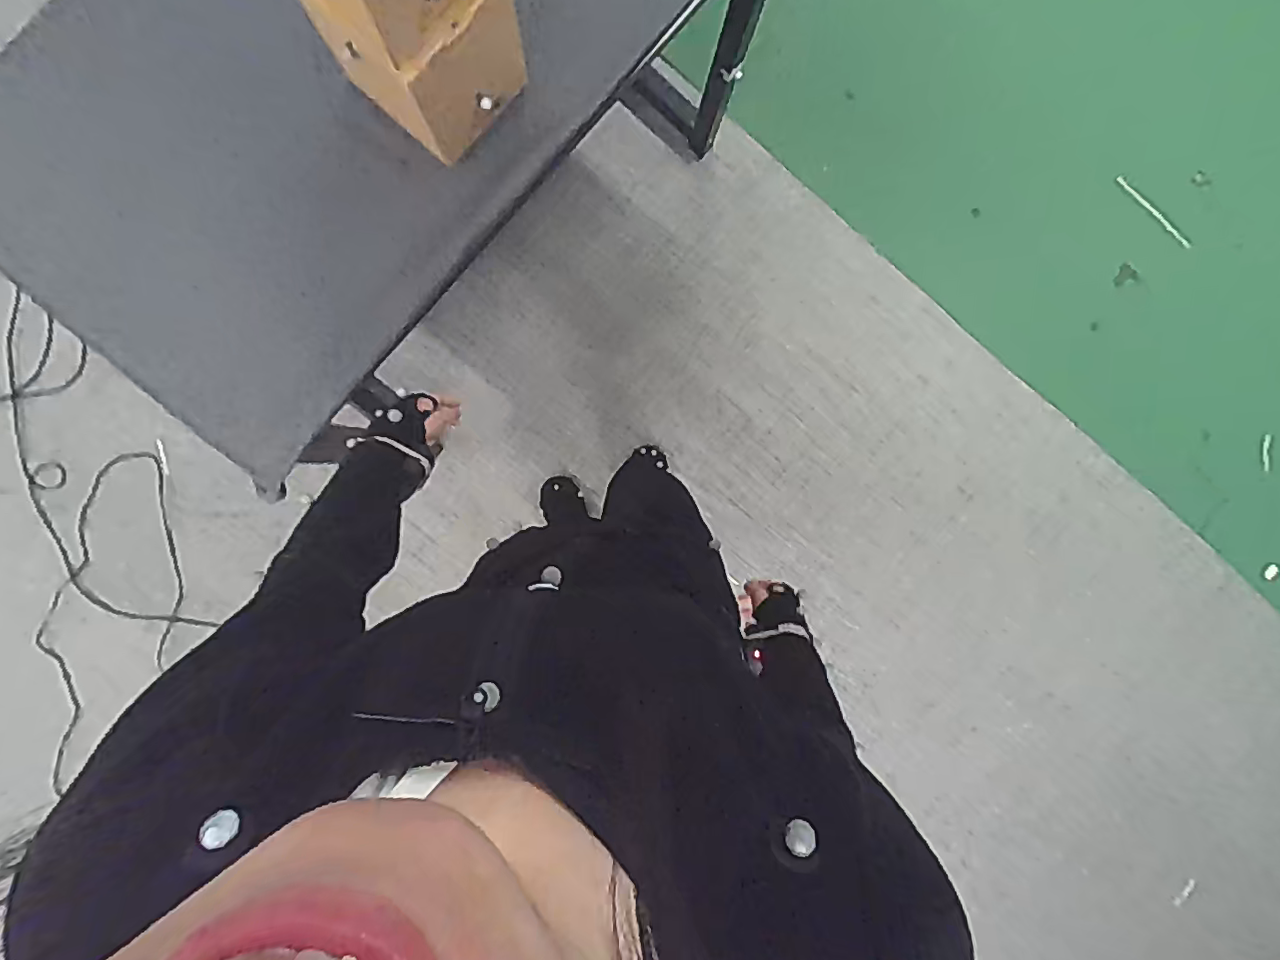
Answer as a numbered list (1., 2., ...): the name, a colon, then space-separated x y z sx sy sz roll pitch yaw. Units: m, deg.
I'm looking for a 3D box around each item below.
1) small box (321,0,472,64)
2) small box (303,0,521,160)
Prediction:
1. small box: -0.261 -0.546 0.492 0.179 0.176 0.168 42 87 -4
2. small box: -0.269 -0.540 0.654 0.179 0.176 0.168 41 88 -4
